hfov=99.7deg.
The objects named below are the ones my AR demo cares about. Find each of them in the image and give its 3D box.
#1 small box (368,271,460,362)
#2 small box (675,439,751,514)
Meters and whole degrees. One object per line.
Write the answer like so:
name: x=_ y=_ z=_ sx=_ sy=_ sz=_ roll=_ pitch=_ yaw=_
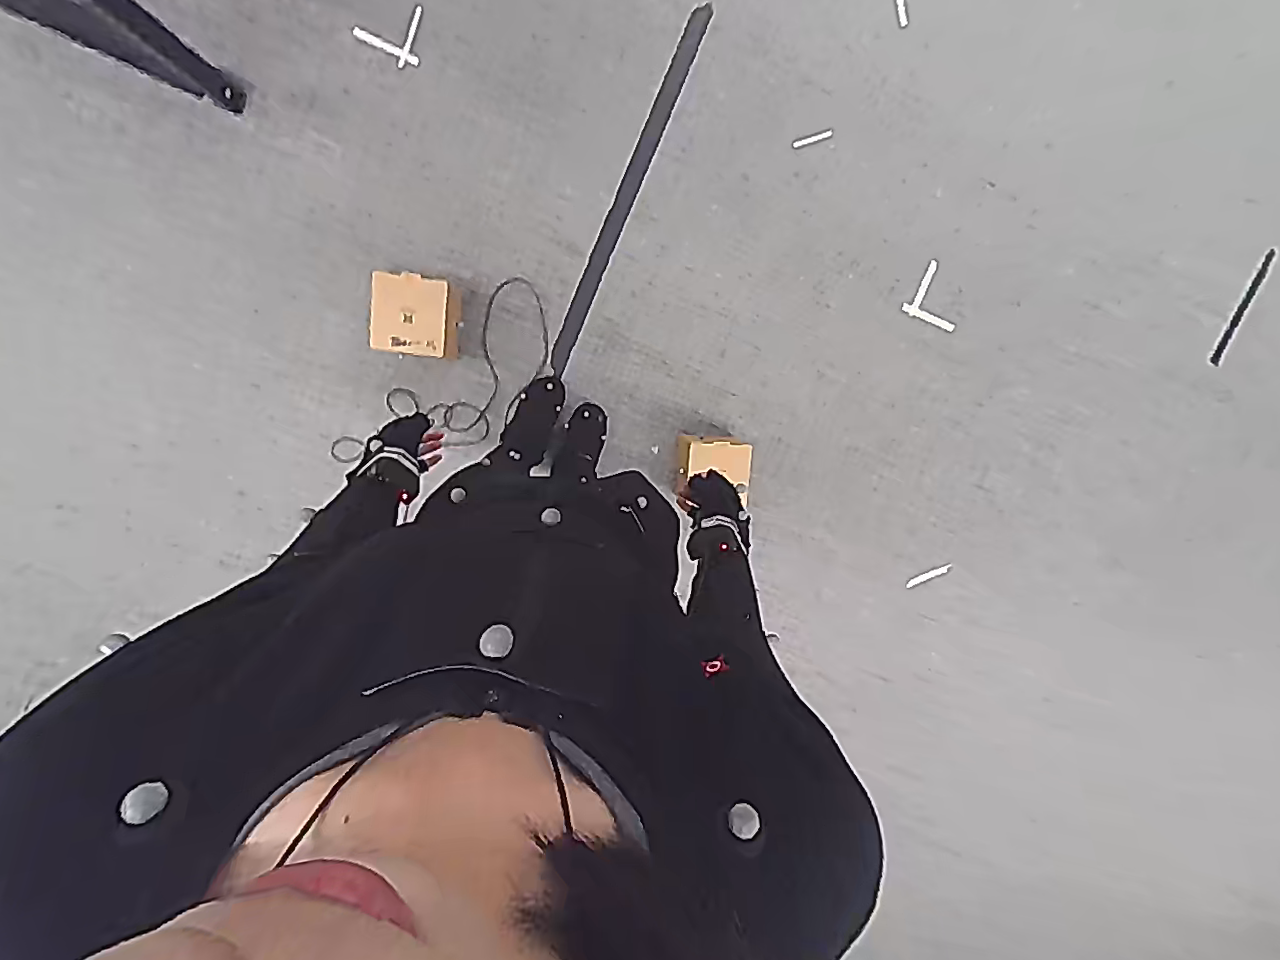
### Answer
small box: x=-0.539 y=-0.387 z=1.307 sx=0.168 sy=0.176 sz=0.179 roll=6 pitch=99 yaw=-9
small box: x=0.192 y=-0.015 z=1.467 sx=0.168 sy=0.176 sz=0.179 roll=2 pitch=101 yaw=-6
